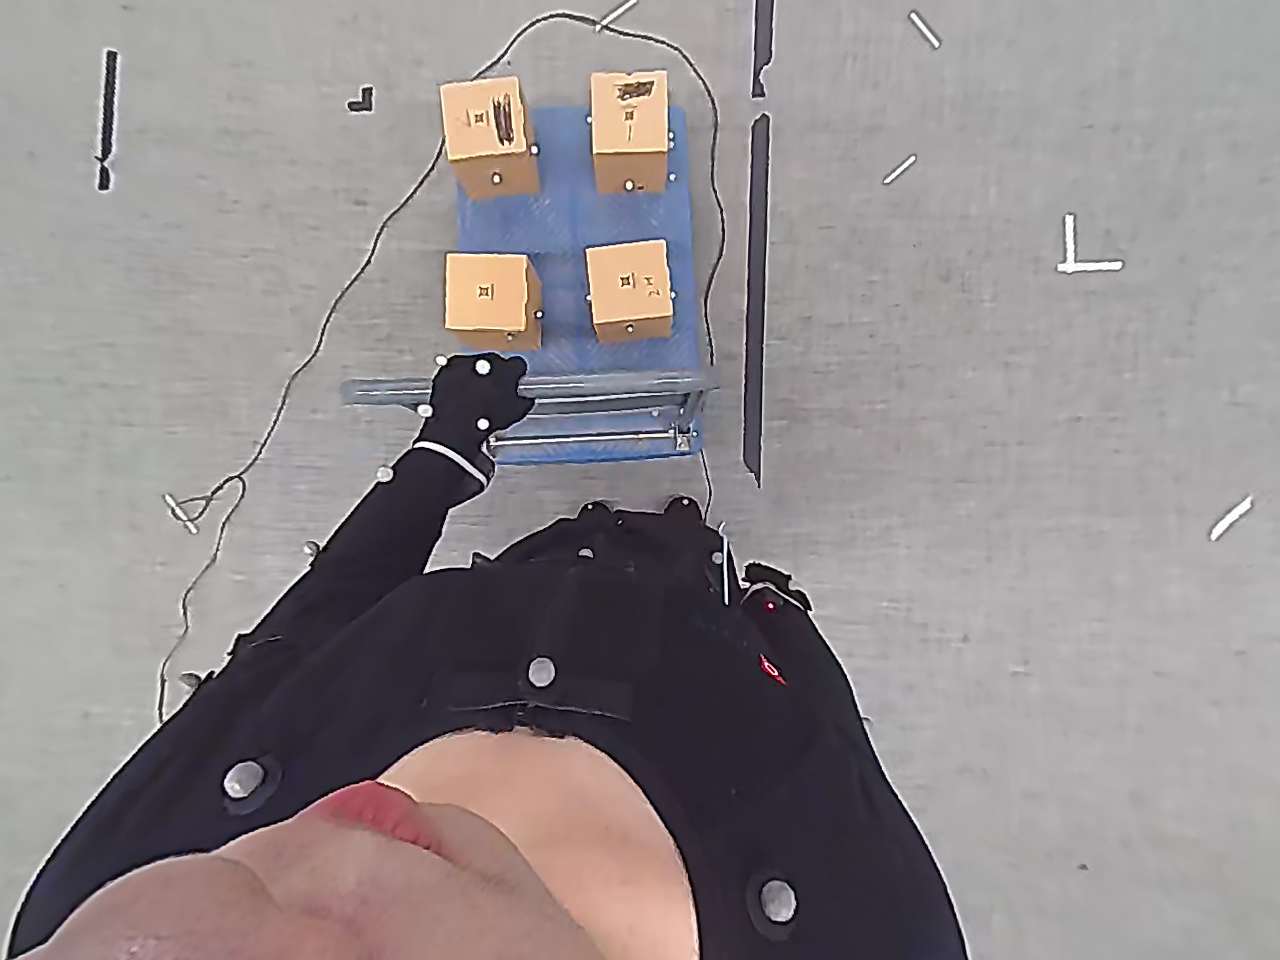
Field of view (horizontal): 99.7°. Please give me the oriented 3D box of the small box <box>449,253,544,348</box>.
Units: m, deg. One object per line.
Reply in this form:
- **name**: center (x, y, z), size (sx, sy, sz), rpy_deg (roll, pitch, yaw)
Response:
- **small box**: center (-0.324, -0.406, 1.243), size (0.179, 0.176, 0.168), rpy_deg (0, 90, 0)

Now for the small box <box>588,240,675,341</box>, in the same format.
- **small box**: center (-0.016, -0.425, 1.238), size (0.179, 0.176, 0.168), rpy_deg (-6, 90, 1)

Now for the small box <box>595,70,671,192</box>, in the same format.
- **small box**: center (-0.015, -0.792, 1.238), size (0.168, 0.176, 0.179), rpy_deg (-1, 91, 1)
